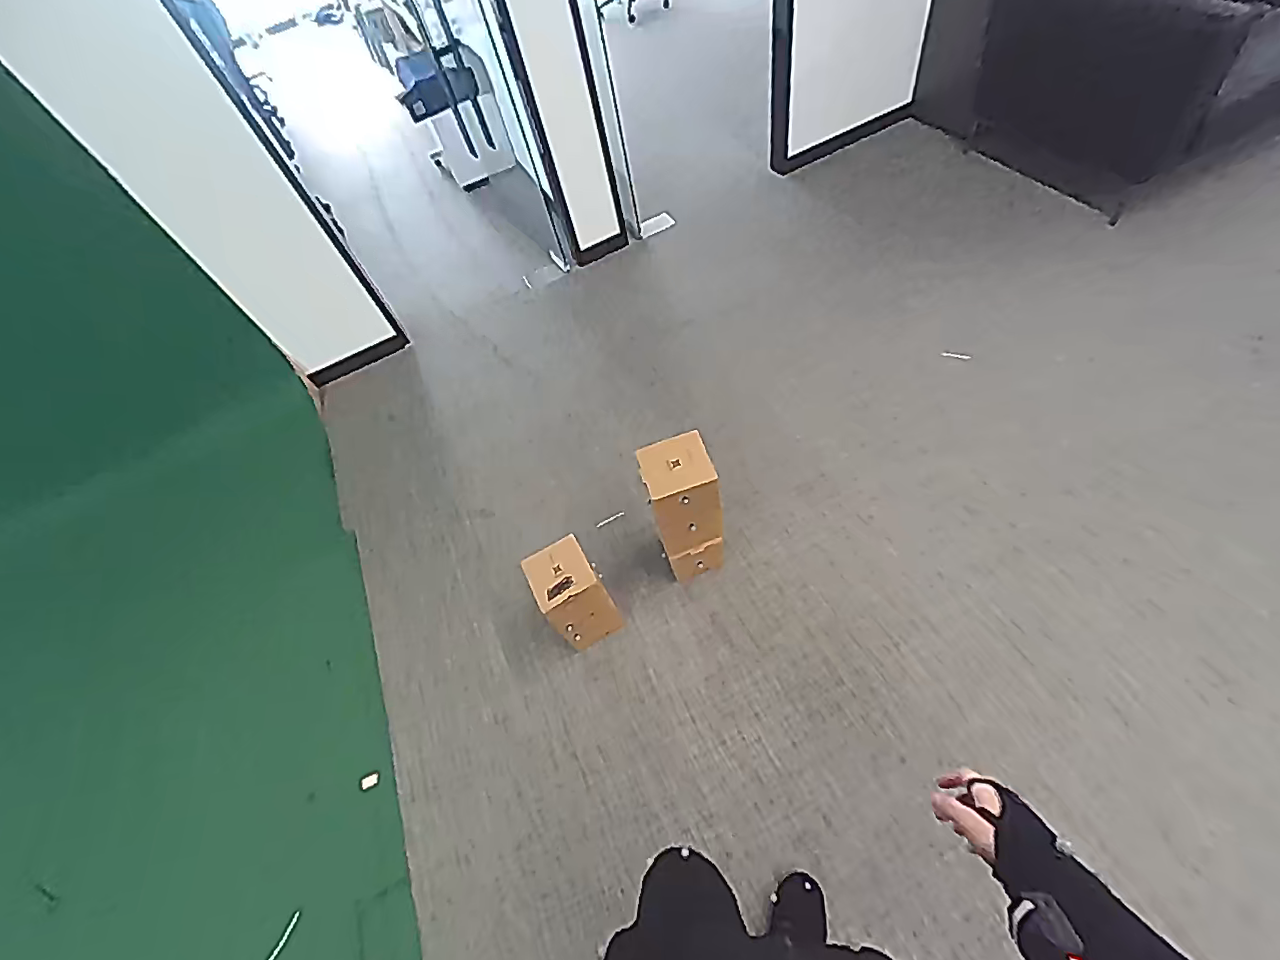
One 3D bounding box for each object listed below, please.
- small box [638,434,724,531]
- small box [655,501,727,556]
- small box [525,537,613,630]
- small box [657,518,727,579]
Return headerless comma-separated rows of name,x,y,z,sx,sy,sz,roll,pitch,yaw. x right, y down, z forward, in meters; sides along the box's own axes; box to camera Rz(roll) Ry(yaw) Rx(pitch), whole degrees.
small box,0.111,0.012,1.427,0.179,0.176,0.168,-18,55,0
small box,0.142,0.092,1.566,0.179,0.176,0.168,-22,55,-2
small box,-0.192,0.296,1.502,0.168,0.176,0.179,-29,54,-7
small box,0.166,0.191,1.693,0.168,0.176,0.179,-20,56,-2
